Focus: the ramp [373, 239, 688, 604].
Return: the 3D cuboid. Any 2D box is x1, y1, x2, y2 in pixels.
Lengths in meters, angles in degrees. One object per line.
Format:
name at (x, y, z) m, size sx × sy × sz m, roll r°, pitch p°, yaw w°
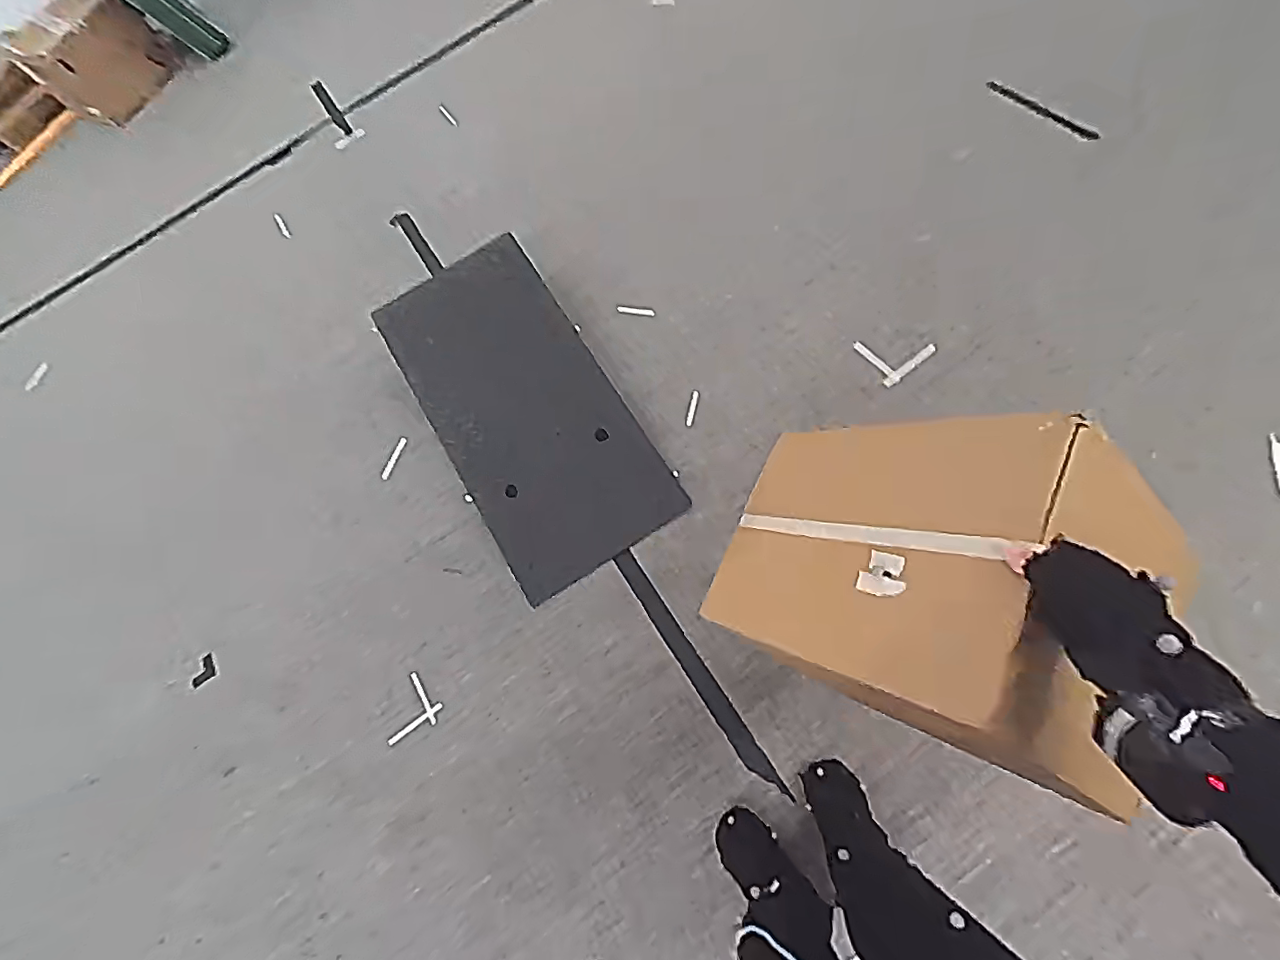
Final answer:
ramp at (-0.332, -0.207, 1.522) m, size 0.509 × 0.206 × 0.991 m, roll -34°, pitch 66°, yaw -5°
